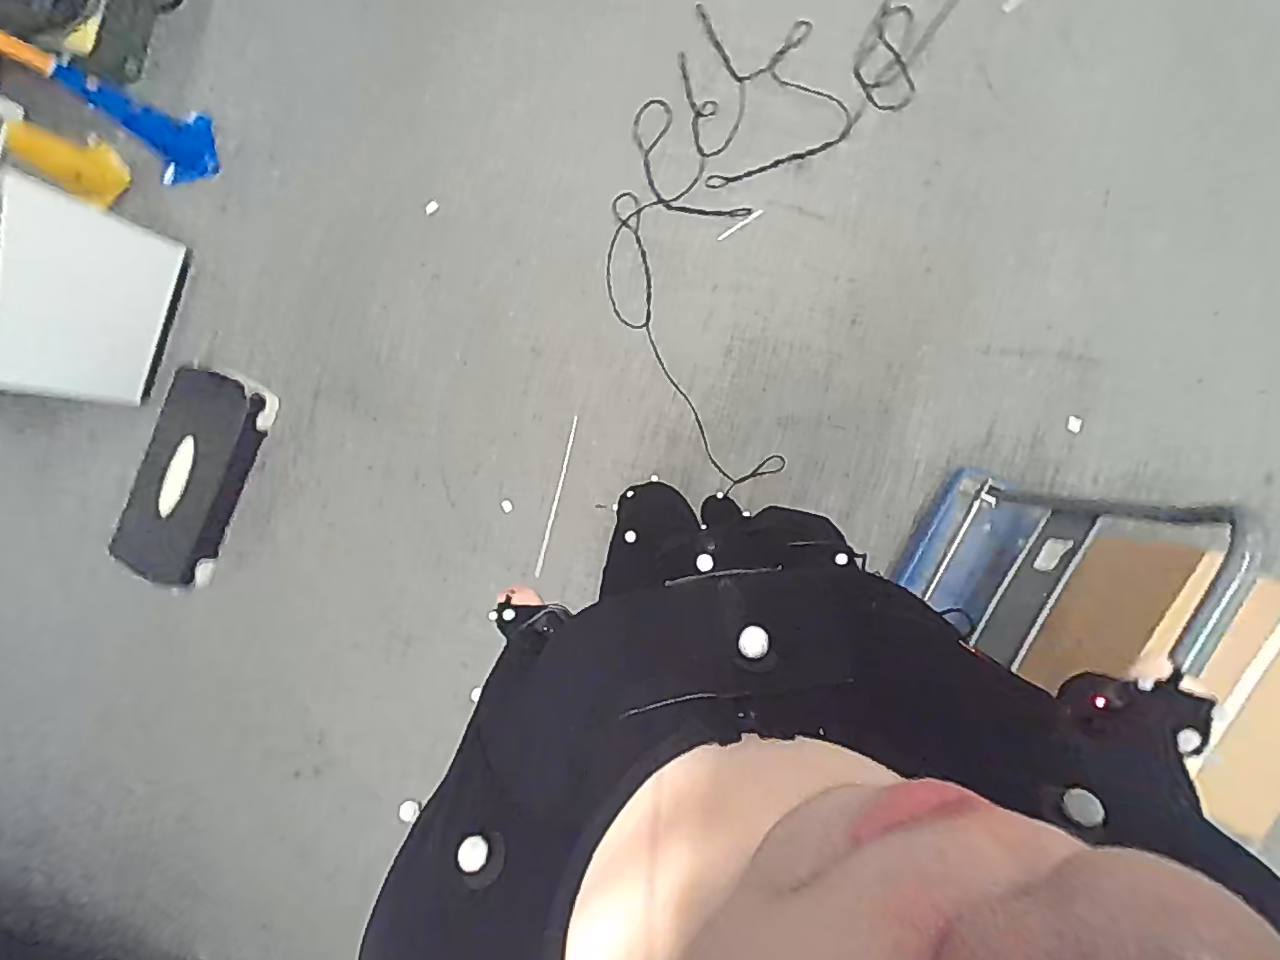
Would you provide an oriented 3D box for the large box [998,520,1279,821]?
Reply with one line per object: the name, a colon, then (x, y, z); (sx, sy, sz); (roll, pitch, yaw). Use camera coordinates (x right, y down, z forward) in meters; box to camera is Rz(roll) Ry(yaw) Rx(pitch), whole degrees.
large box: (1.018, 0.332, 1.065); (0.320, 0.320, 0.408); (29, 95, 8)
